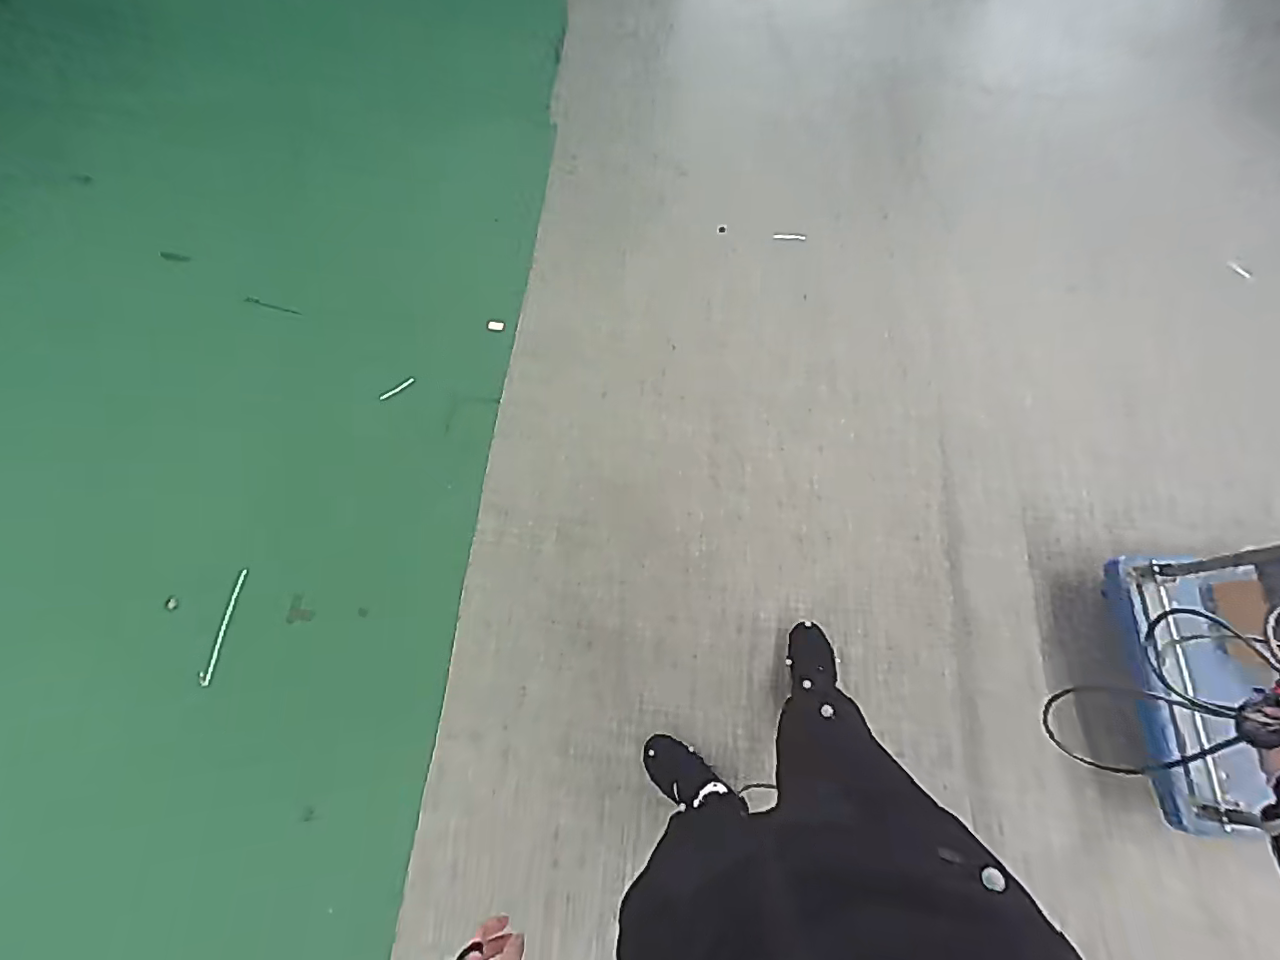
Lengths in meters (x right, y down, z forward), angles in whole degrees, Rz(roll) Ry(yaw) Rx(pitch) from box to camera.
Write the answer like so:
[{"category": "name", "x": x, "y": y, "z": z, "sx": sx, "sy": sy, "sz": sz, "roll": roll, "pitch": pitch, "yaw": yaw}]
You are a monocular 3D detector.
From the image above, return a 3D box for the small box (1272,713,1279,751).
[{"category": "small box", "x": 1.412, "y": 0.546, "z": 1.041, "sx": 0.179, "sy": 0.176, "sz": 0.168, "roll": 2, "pitch": 72, "yaw": 5}]
